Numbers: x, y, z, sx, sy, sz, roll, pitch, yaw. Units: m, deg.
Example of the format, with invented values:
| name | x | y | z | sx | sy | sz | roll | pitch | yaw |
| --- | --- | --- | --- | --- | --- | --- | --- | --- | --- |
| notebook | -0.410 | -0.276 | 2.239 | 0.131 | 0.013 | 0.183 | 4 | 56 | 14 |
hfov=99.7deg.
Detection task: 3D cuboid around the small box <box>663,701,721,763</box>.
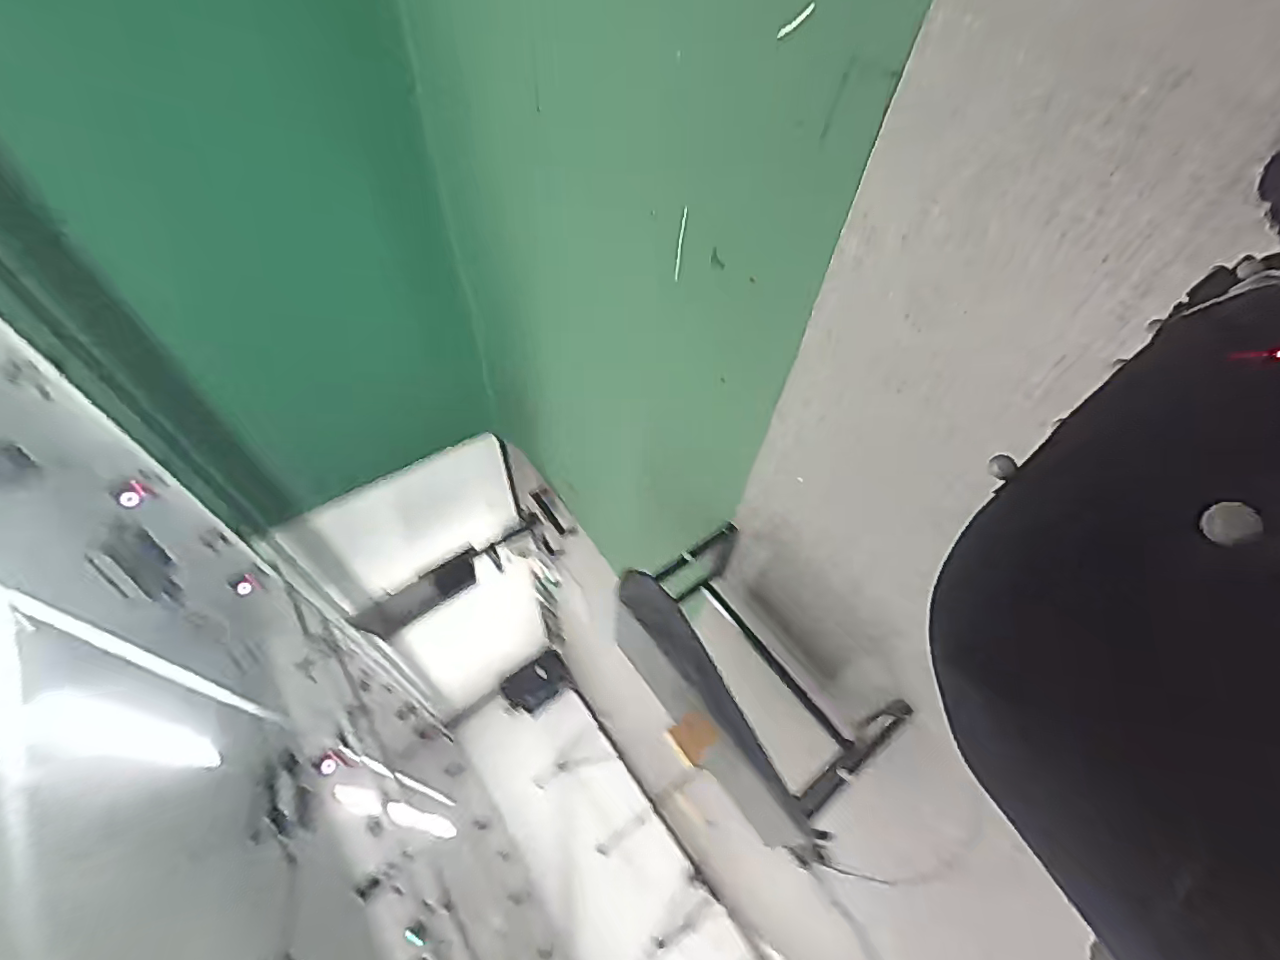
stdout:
| name | x | y | z | sx | sy | sz | roll | pitch | yaw |
| --- | --- | --- | --- | --- | --- | --- | --- | --- | --- |
| small box | 0.223 | 1.083 | 2.341 | 0.179 | 0.176 | 0.168 | 46 | 155 | 26 |
